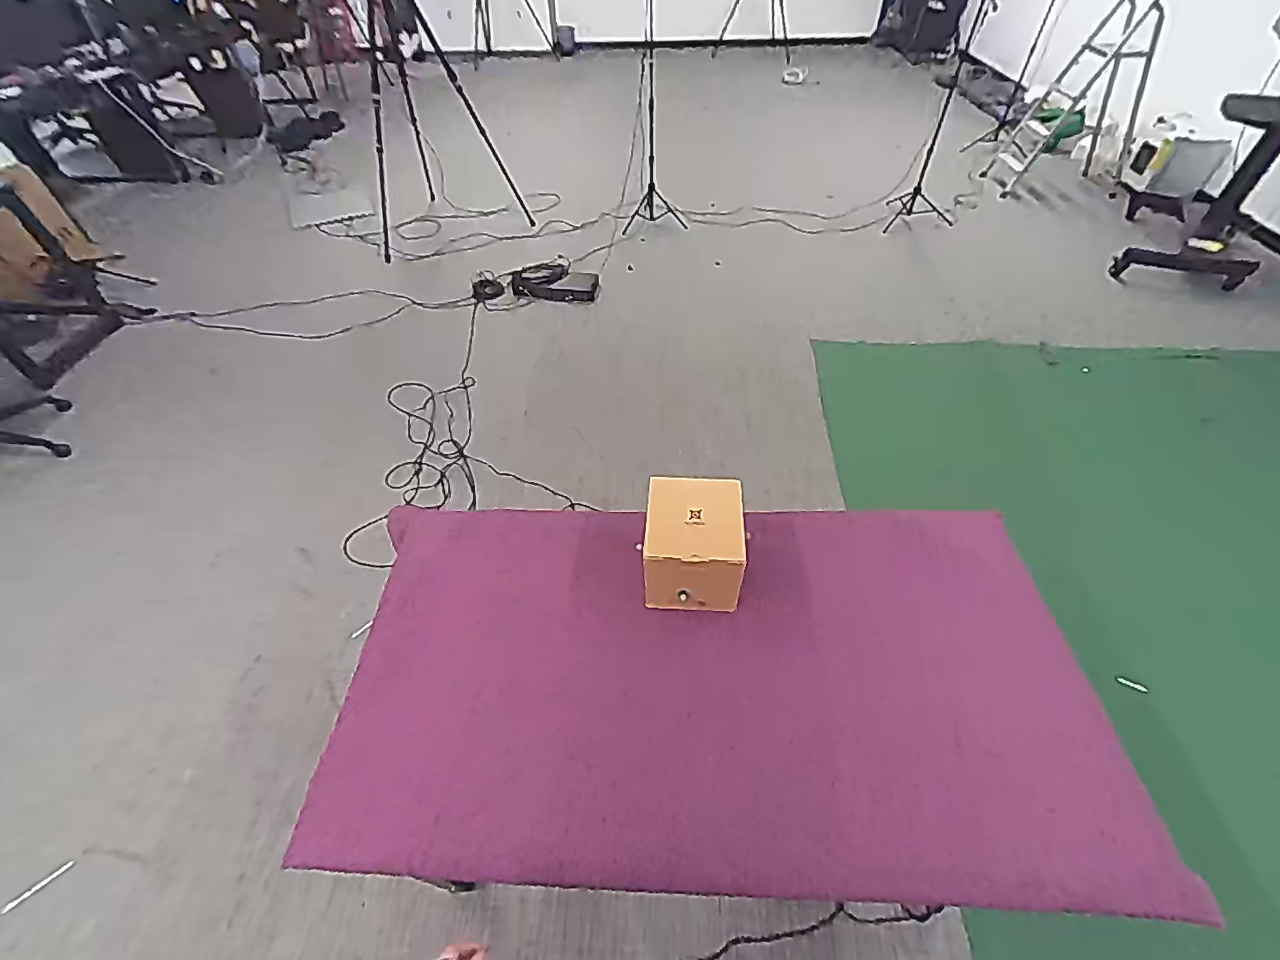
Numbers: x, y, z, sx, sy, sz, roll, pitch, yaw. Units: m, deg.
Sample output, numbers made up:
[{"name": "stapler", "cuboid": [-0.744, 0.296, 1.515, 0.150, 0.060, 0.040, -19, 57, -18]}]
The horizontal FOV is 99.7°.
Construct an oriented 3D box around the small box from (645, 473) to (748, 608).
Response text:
[{"name": "small box", "cuboid": [0.096, 0.109, 0.972, 0.168, 0.176, 0.179, 3, 50, 2]}]
